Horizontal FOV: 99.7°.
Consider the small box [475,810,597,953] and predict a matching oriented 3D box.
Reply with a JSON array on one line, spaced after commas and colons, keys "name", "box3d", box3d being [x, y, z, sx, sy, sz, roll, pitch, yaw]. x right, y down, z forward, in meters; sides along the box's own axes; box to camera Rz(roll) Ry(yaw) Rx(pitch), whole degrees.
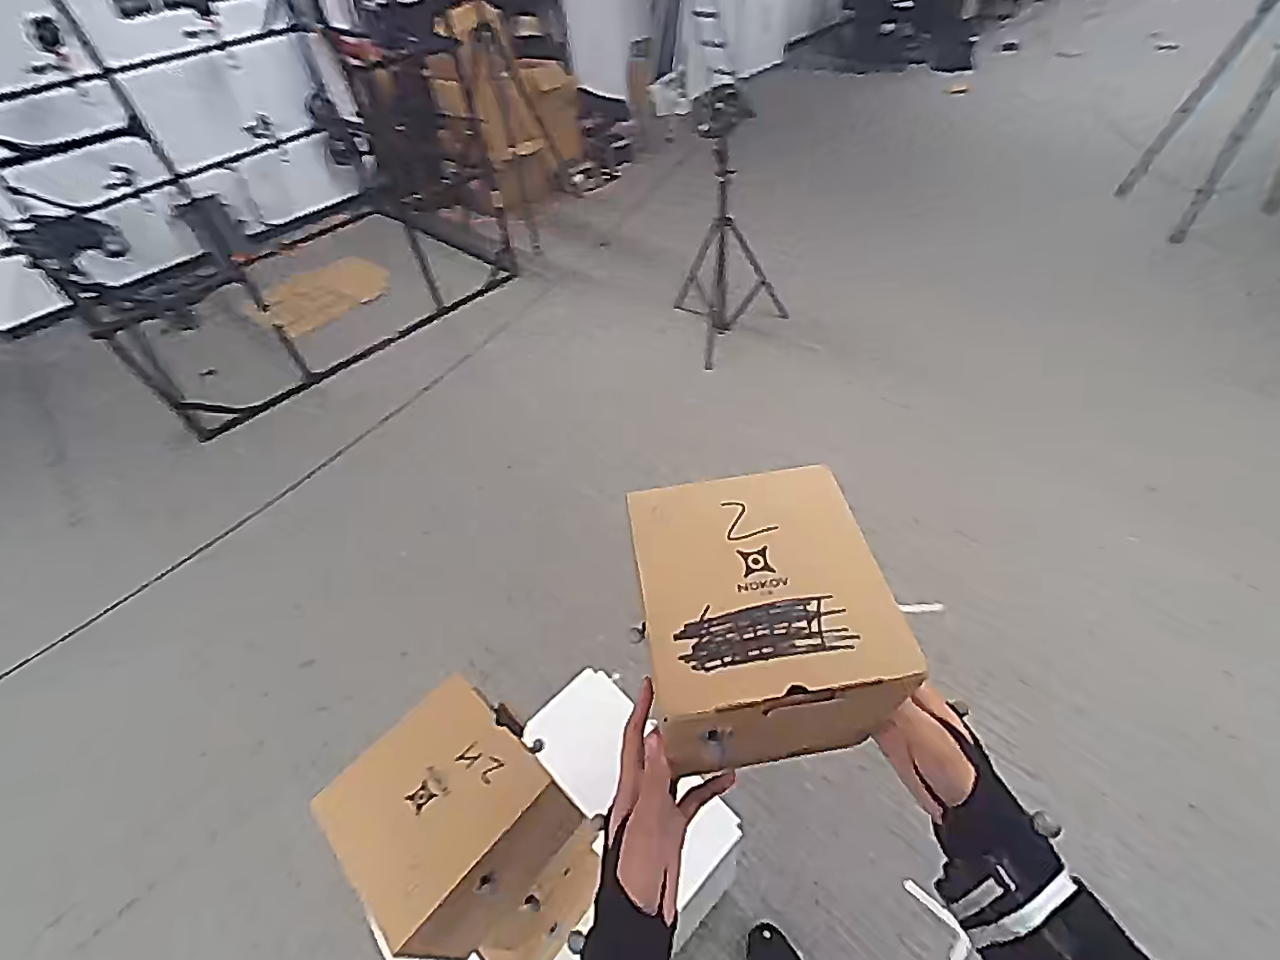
[{"name": "small box", "box3d": [-0.177, 0.457, 0.697, 0.179, 0.176, 0.168, 28, 57, 30]}]

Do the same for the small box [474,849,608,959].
[{"name": "small box", "box3d": [-0.165, 0.589, 0.795, 0.168, 0.176, 0.179, 28, 56, 29]}]

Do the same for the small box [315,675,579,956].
[{"name": "small box", "box3d": [-0.187, 0.352, 0.569, 0.168, 0.176, 0.179, 31, 58, 31]}]
